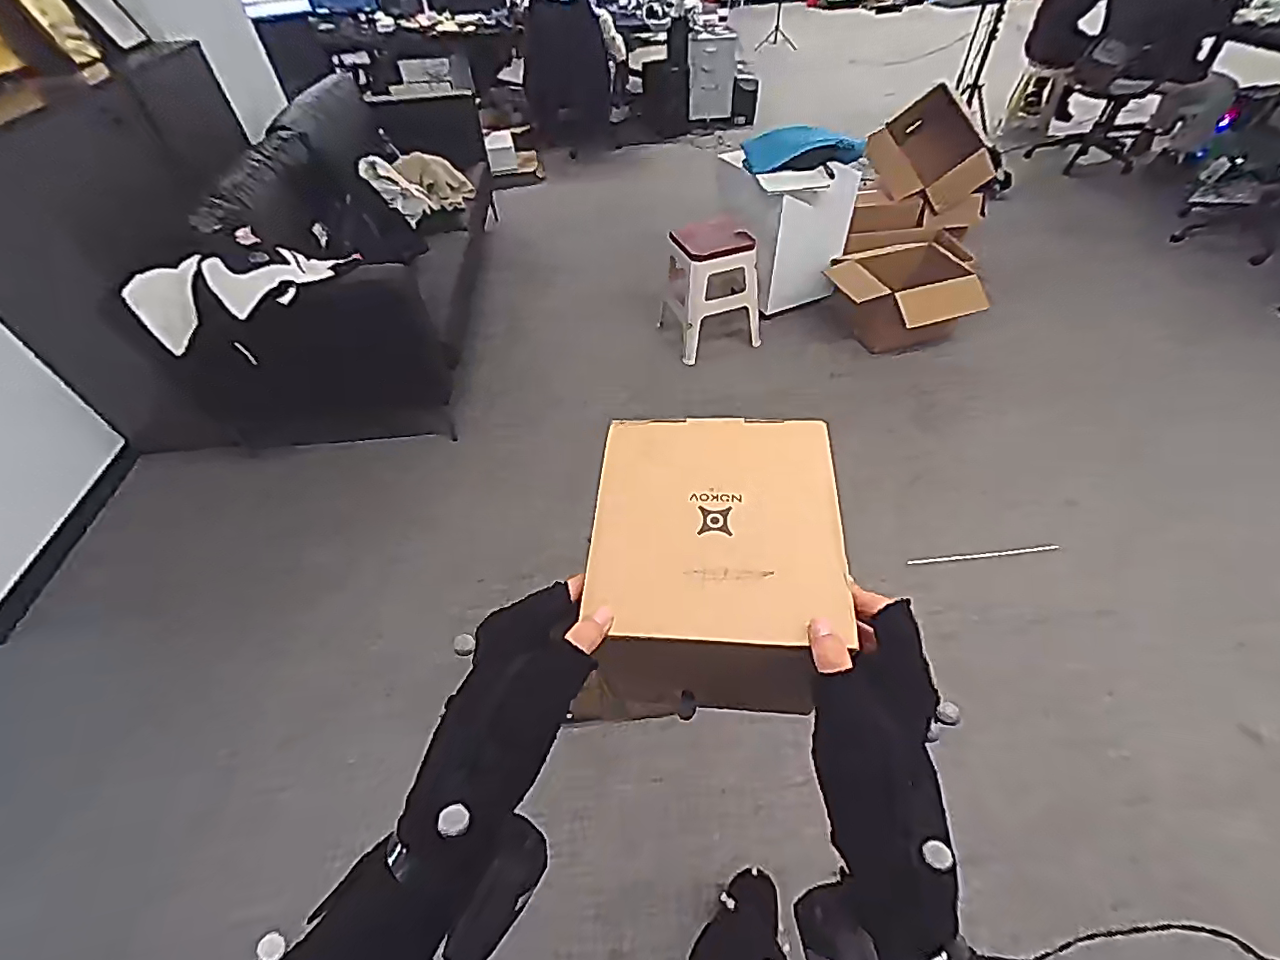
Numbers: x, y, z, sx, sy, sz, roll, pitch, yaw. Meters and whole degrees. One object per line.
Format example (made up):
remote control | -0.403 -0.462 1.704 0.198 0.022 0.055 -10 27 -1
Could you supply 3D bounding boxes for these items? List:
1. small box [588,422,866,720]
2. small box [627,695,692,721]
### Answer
small box | 0.063 0.074 0.429 0.168 0.176 0.179 1 55 7
small box | 0.045 0.504 1.409 0.168 0.176 0.179 -7 47 -2
